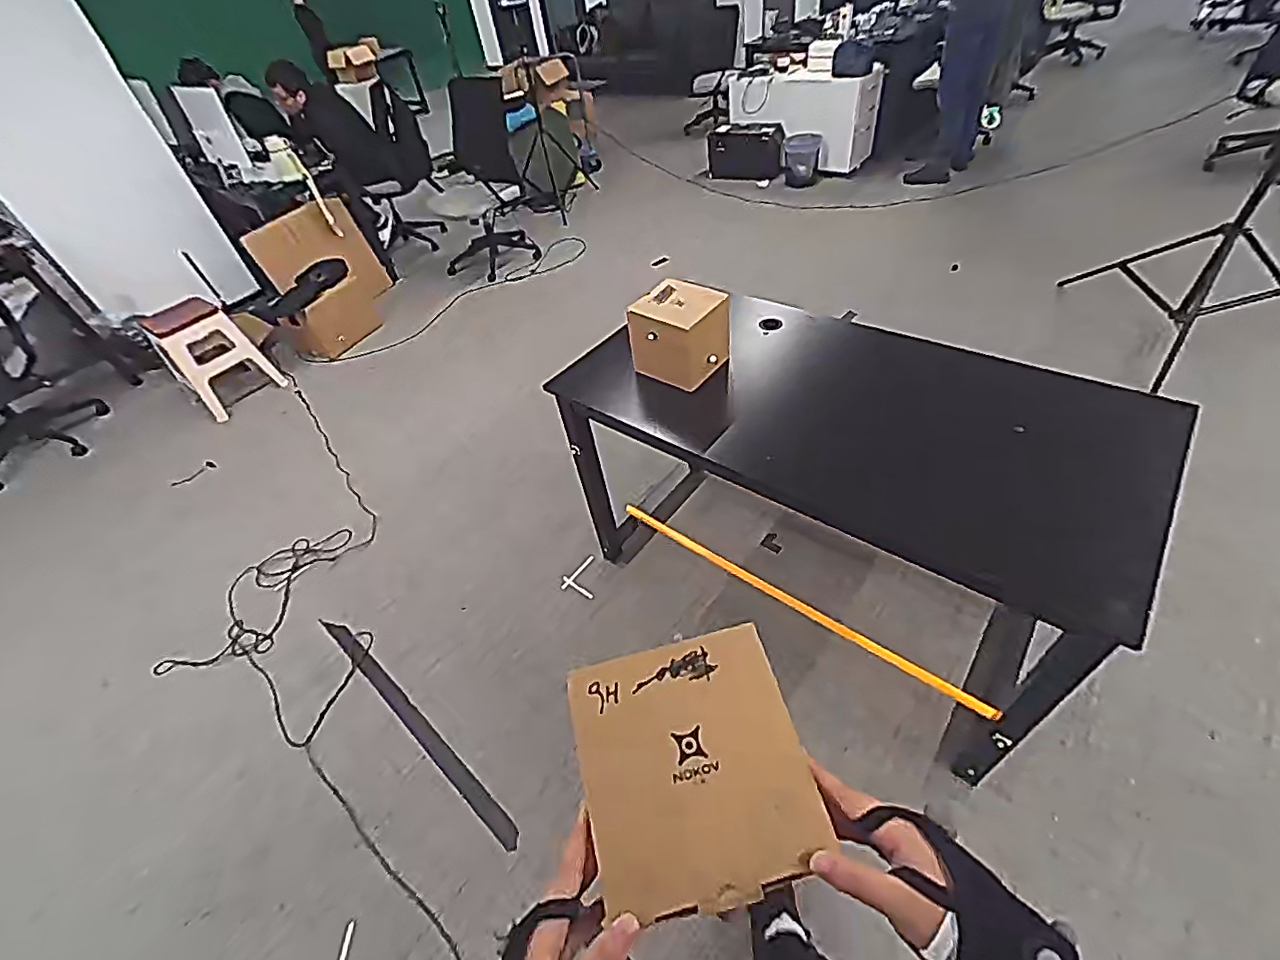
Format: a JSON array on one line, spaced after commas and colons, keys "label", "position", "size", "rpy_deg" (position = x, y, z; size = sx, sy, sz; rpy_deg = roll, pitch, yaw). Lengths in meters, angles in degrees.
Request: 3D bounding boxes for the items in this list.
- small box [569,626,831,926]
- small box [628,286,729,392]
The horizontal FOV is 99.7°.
[{"label": "small box", "position": [0.043, 0.257, 0.484], "size": [0.168, 0.176, 0.179], "rpy_deg": [-14, 56, -5]}, {"label": "small box", "position": [0.095, -0.334, 1.286], "size": [0.179, 0.176, 0.168], "rpy_deg": [27, 56, 30]}]
